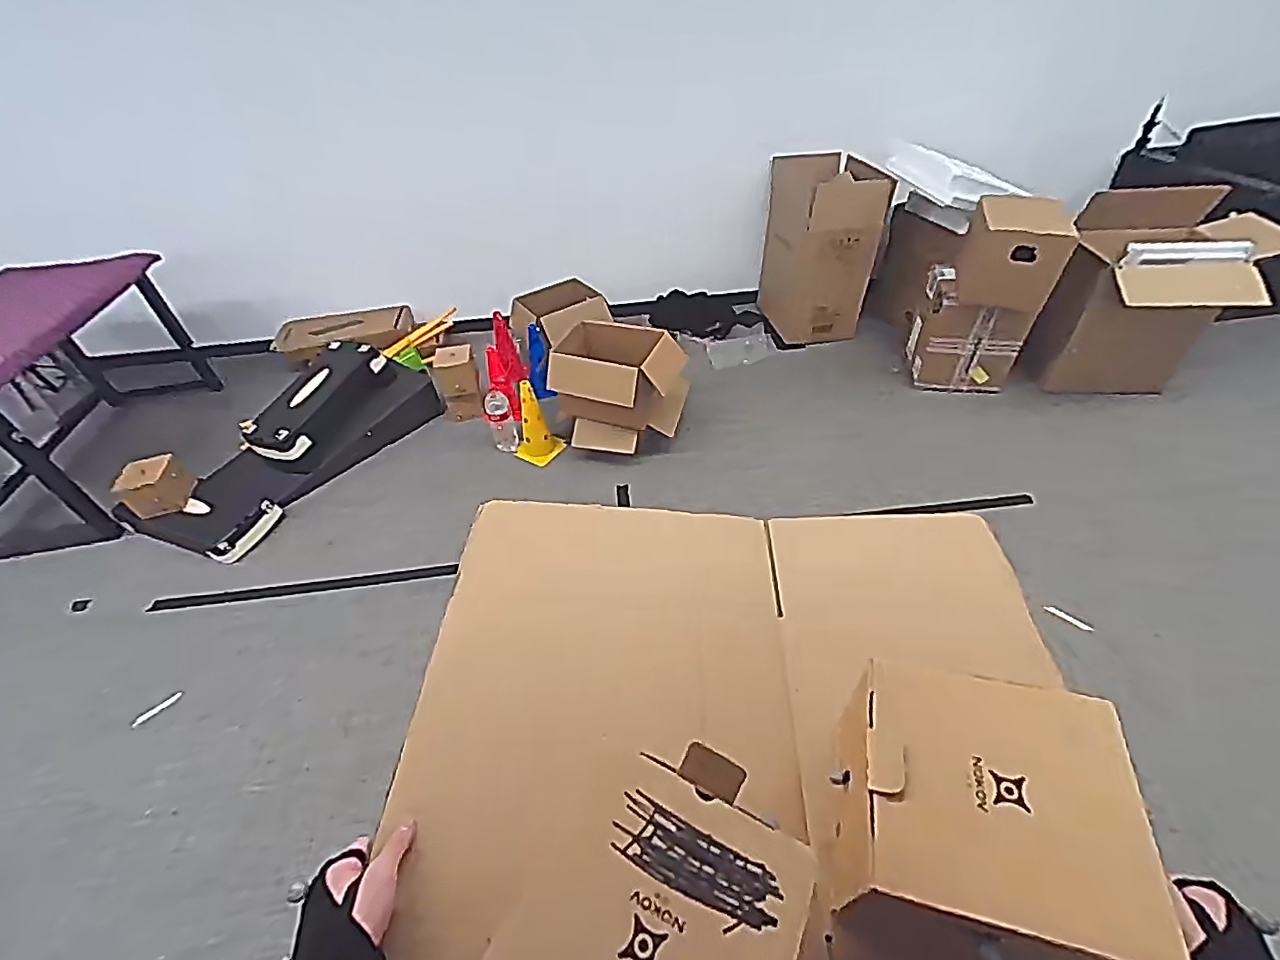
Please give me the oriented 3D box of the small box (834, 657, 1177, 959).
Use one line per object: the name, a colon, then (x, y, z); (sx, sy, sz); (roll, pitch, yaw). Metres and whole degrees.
small box: (0.269, 0.275, 0.452); (0.179, 0.176, 0.168); (6, 49, 15)
